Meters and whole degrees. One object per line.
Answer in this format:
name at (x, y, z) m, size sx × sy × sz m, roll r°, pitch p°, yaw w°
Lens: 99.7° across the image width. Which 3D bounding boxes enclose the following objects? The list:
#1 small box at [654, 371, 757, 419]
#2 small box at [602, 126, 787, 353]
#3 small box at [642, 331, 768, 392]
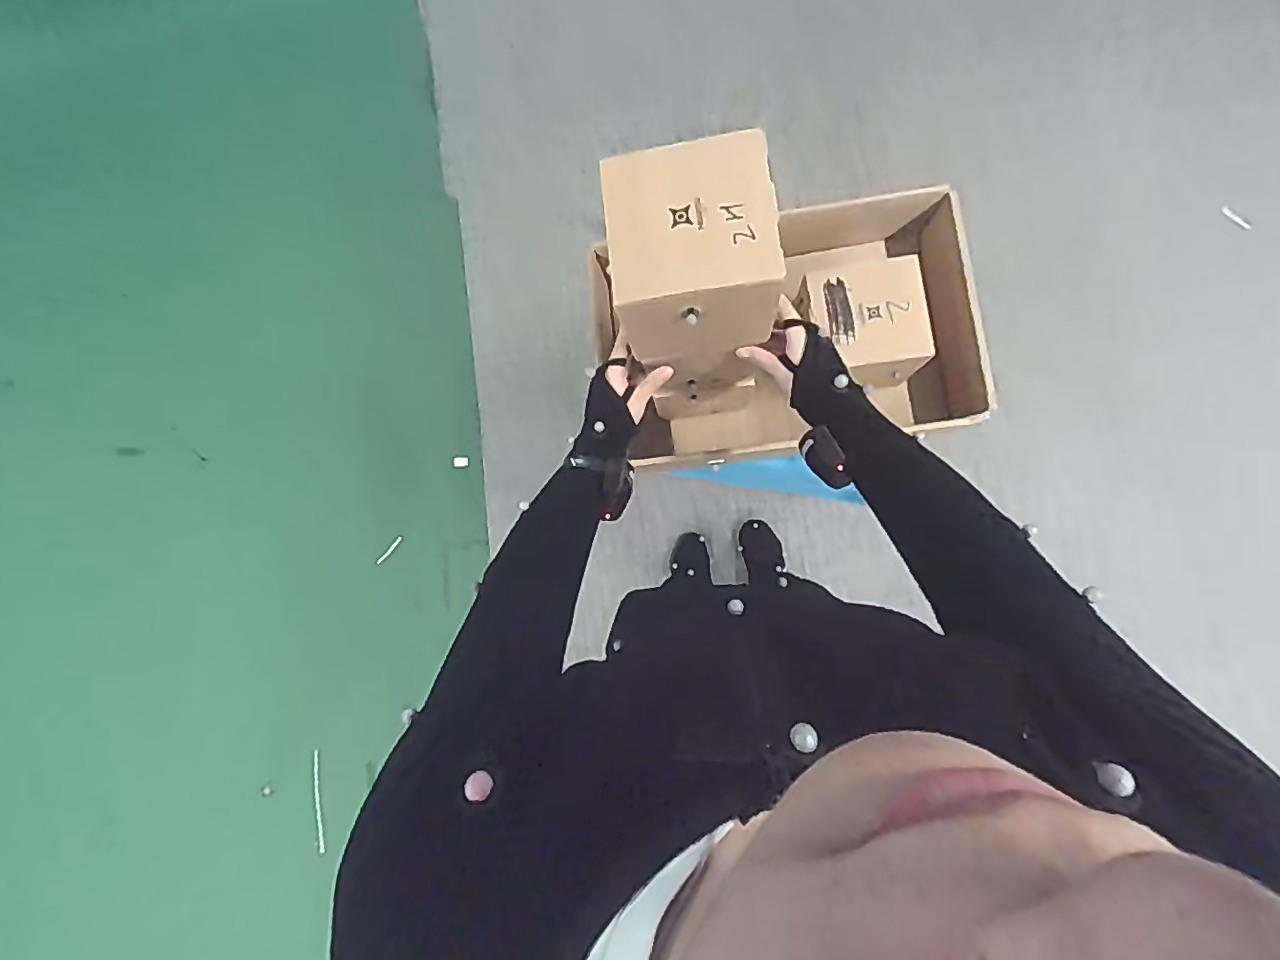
small box at (0.106, -0.218, 0.945) m, size 0.168 × 0.176 × 0.179 m, roll -7°, pitch 82°, yaw 6°
small box at (0.063, -0.258, 0.623) m, size 0.179 × 0.176 × 0.168 m, roll -6°, pitch 83°, yaw 7°
small box at (0.084, -0.243, 0.786) m, size 0.168 × 0.176 × 0.179 m, roll -7°, pitch 82°, yaw 6°
